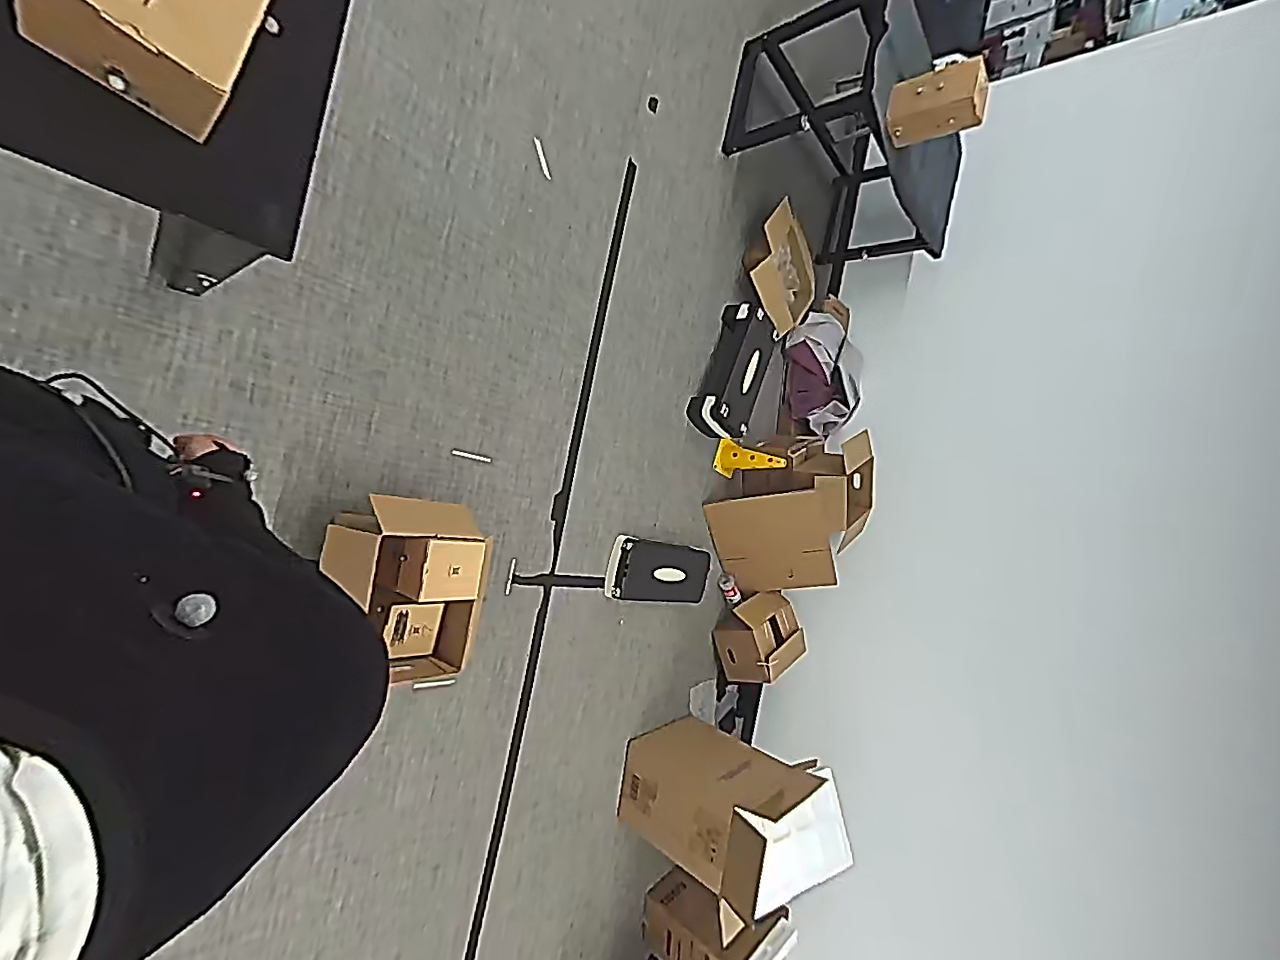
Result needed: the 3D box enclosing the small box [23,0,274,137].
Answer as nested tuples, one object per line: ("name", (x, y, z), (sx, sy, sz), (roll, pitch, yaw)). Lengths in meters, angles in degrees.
("small box", (-0.536, -0.531, 0.596), (0.168, 0.176, 0.179), (24, 79, -46))
